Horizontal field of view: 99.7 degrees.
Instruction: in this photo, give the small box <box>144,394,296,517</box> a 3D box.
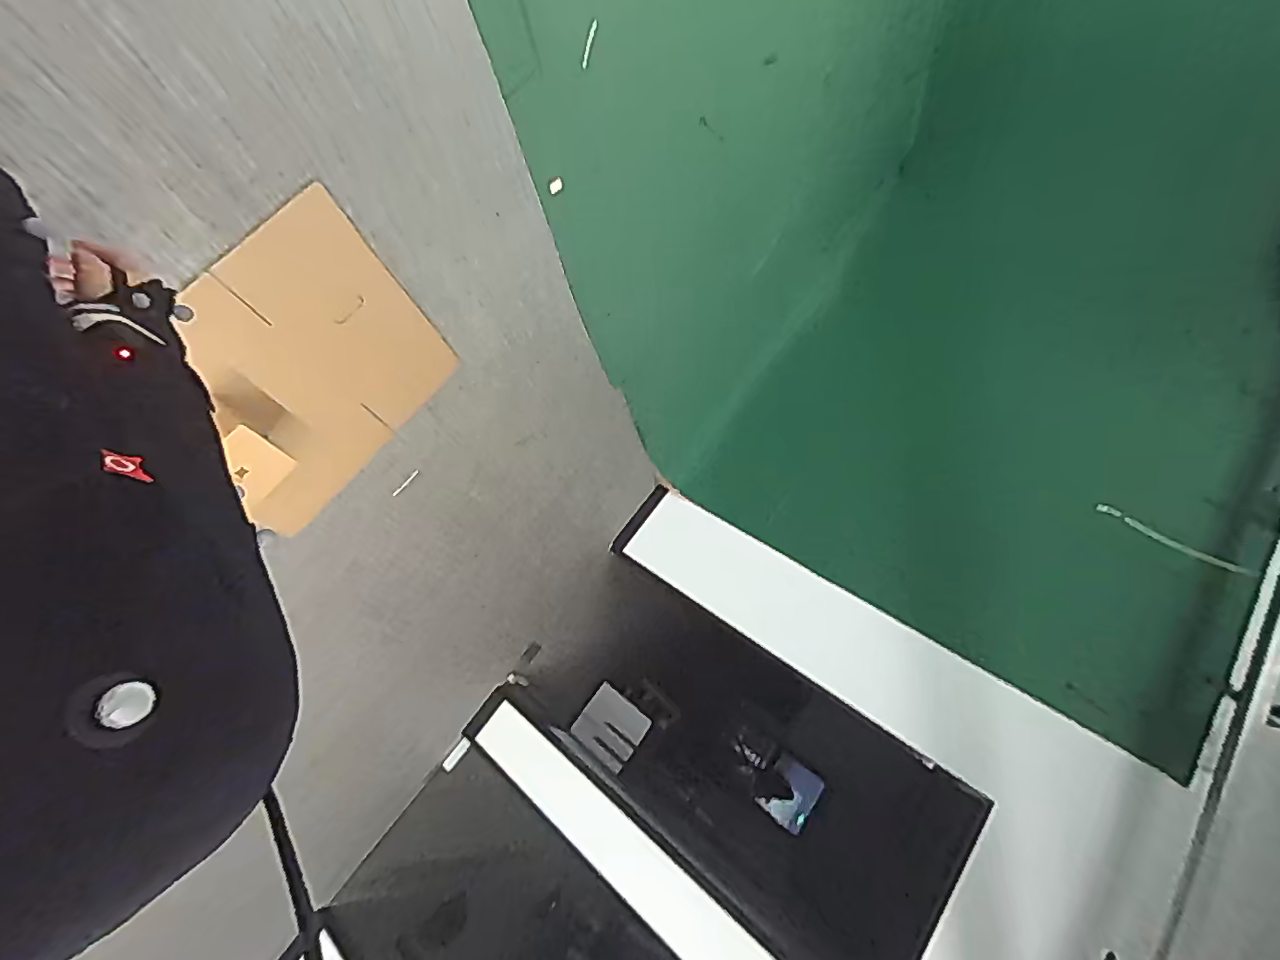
[{"bbox_3d":[-0.916,-0.057,1.181,0.179,0.176,0.168,-50,152,-16],"label":"small box"}]
